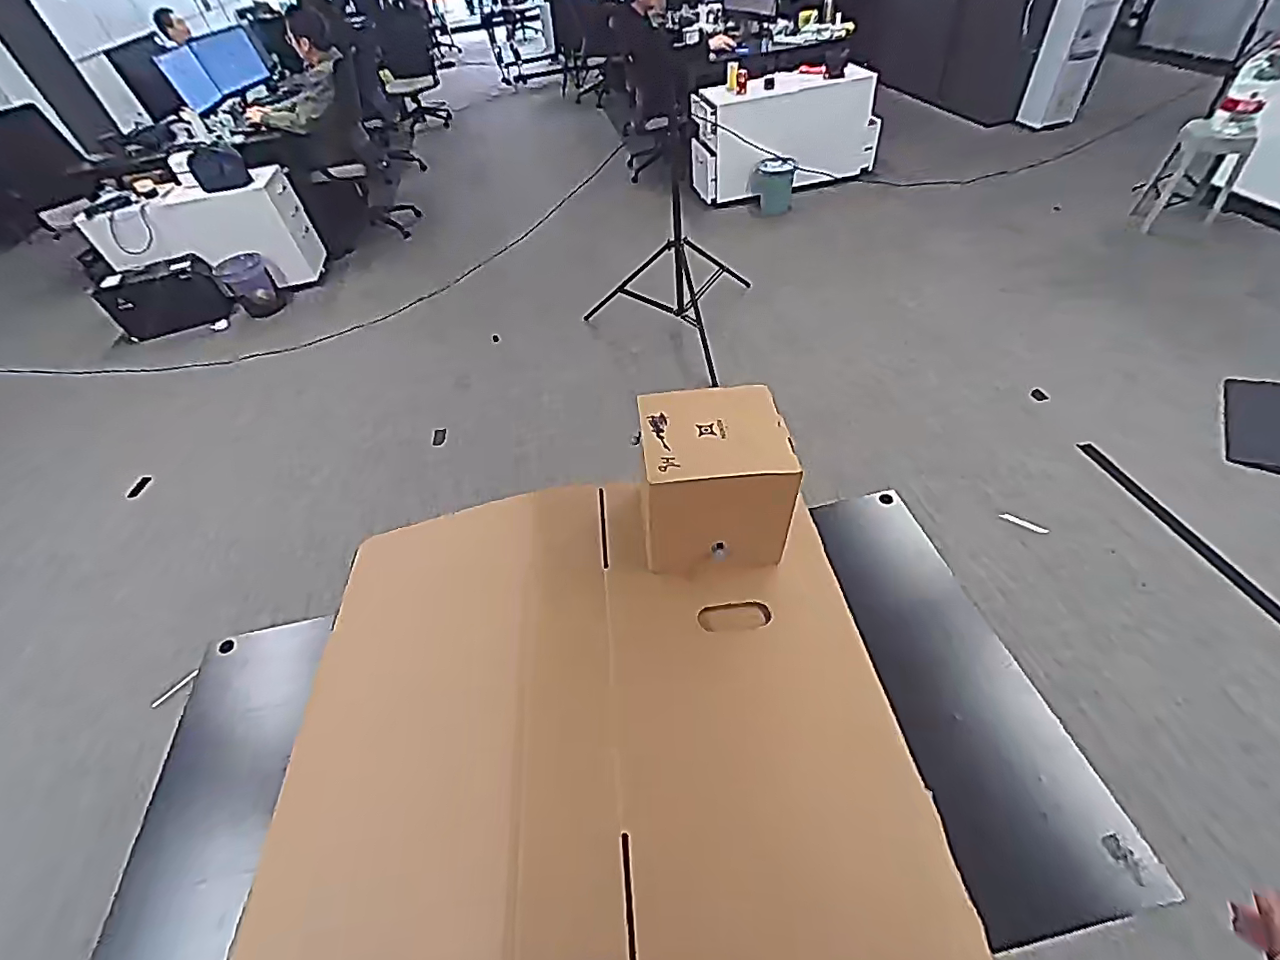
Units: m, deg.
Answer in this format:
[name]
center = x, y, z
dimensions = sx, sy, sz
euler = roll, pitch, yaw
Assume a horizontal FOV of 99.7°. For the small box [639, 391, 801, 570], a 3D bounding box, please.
[small box]
center = 0.091, 0.002, 0.713
dimensions = 0.179, 0.176, 0.168
euler = -4, 45, -3
